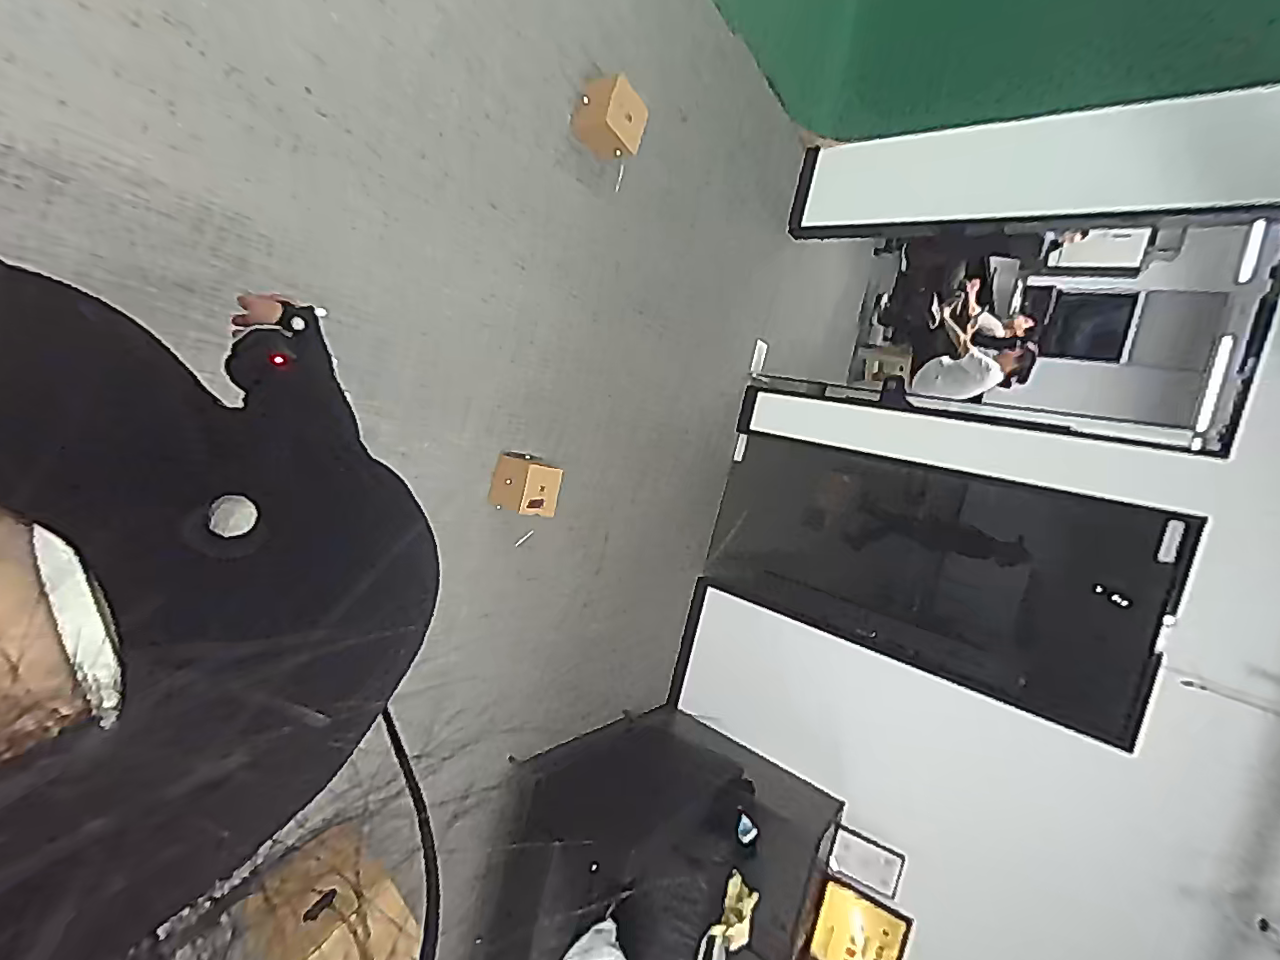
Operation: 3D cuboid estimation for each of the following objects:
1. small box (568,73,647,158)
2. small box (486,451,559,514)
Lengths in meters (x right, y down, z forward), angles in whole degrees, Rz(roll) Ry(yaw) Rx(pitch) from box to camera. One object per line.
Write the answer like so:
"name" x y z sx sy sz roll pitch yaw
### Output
"small box" -0.111 -1.219 1.823 0.179 0.176 0.168 19 88 -55
"small box" -0.422 0.009 1.922 0.168 0.176 0.179 11 94 -55
